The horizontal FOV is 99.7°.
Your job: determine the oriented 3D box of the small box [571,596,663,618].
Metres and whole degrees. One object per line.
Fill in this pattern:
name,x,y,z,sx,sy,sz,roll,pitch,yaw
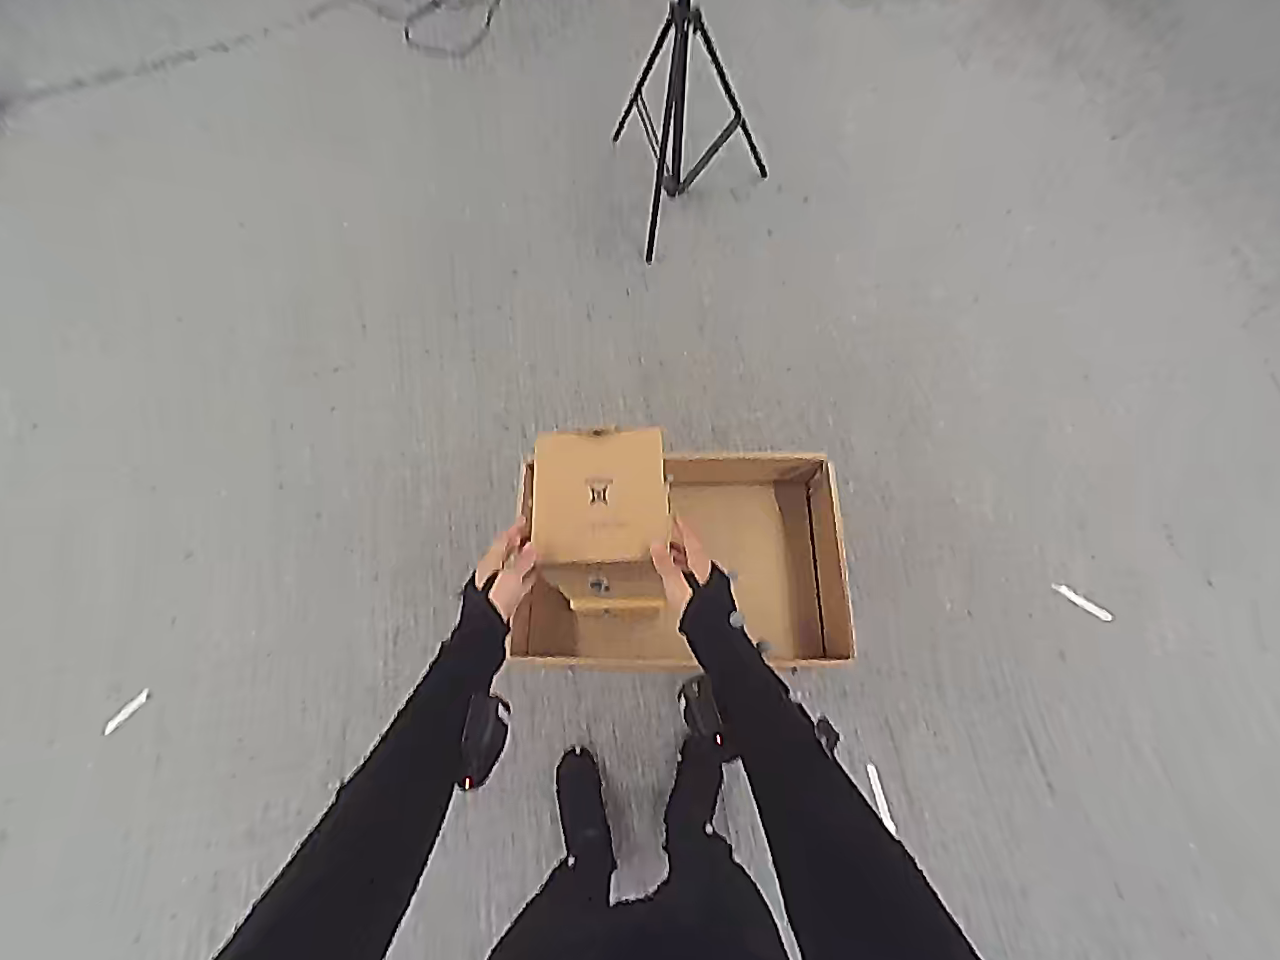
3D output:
small box,-0.038,0.171,1.042,0.168,0.176,0.179,-1,69,0

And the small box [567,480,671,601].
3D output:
small box,-0.038,0.104,0.891,0.179,0.176,0.168,0,69,1

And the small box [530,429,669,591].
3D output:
small box,-0.047,0.047,0.738,0.168,0.176,0.179,-2,68,1
